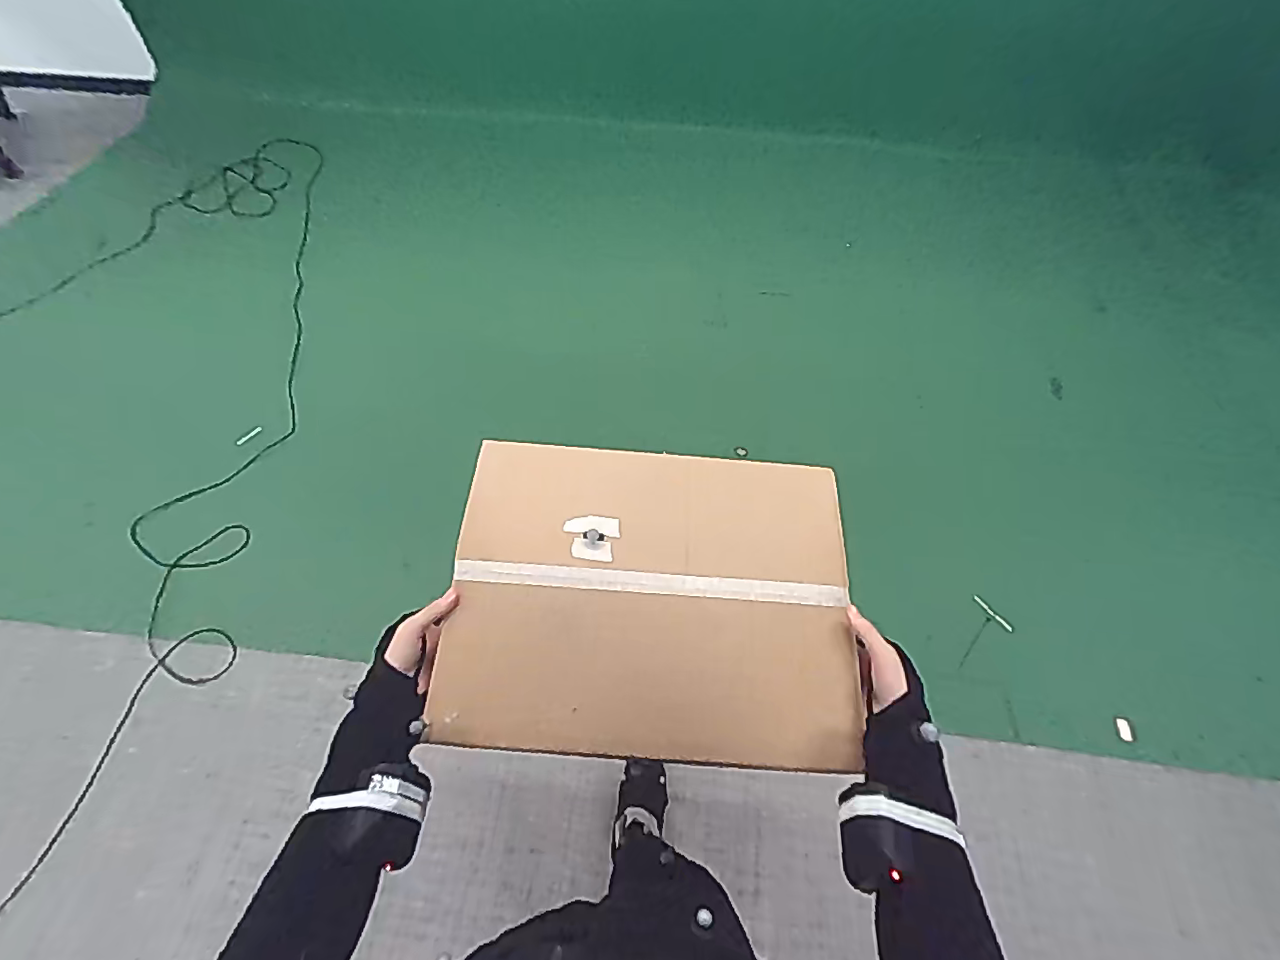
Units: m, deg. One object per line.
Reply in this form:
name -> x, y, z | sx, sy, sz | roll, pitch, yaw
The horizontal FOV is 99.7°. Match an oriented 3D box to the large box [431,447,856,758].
large box -> 0.008, 0.174, 0.698 | 0.408, 0.320, 0.320 | 4, 62, 0
